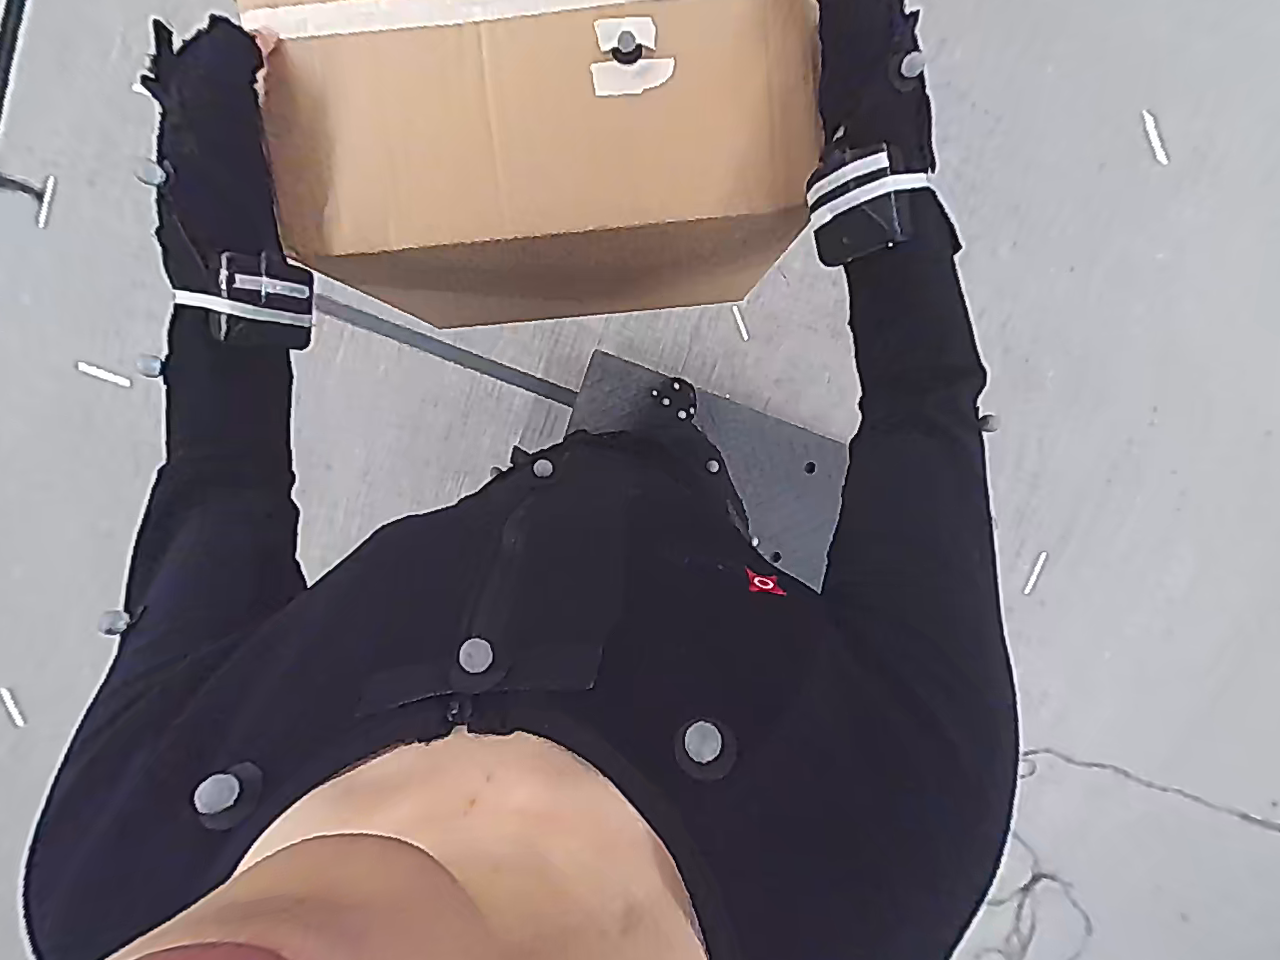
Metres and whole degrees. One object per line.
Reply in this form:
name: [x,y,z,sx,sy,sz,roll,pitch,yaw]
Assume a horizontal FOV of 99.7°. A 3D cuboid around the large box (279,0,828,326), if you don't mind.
large box: [-0.070,-0.359,0.549,0.408,0.320,0.320,-5,96,0]
